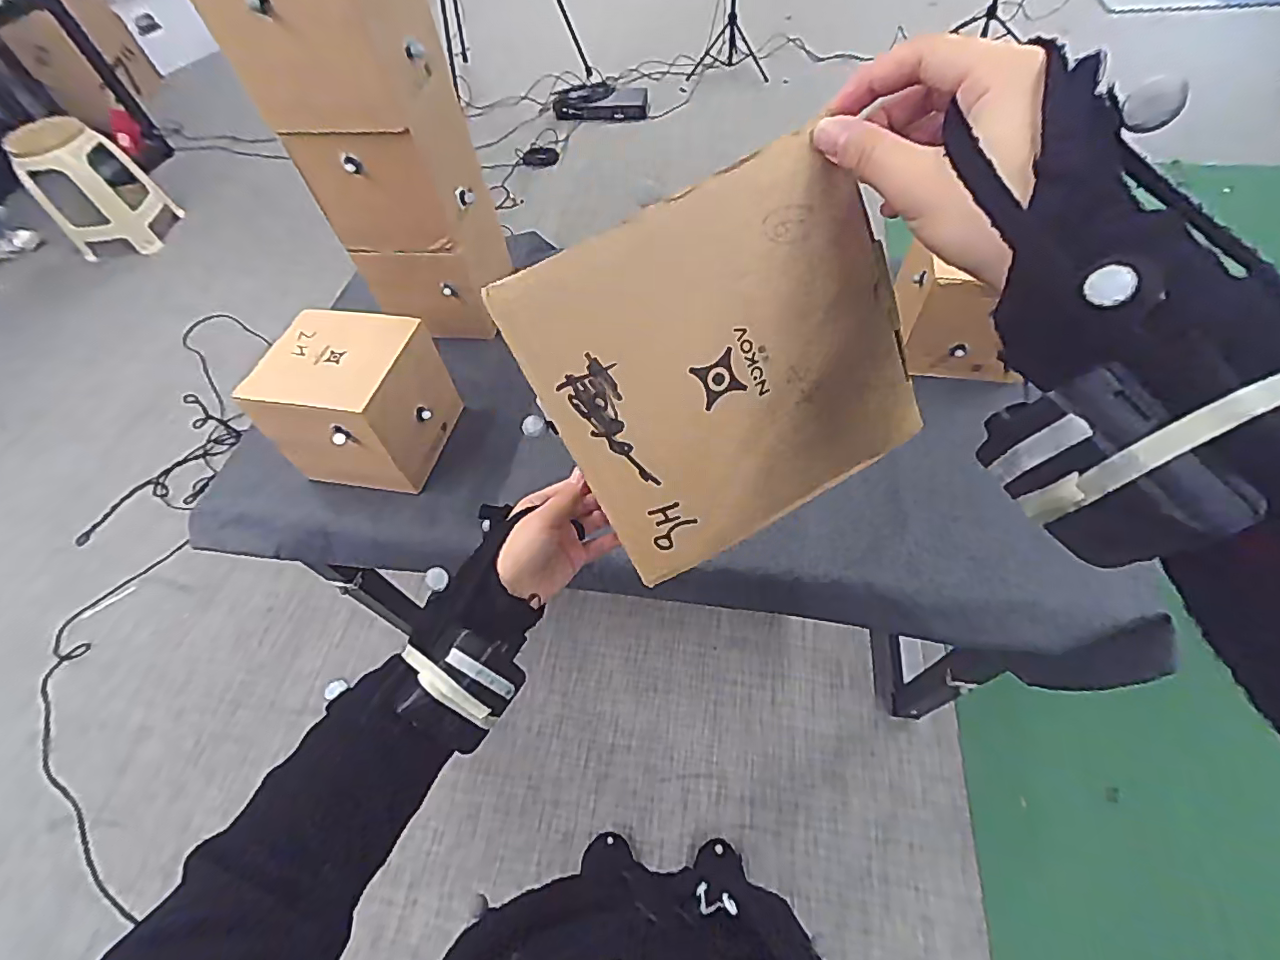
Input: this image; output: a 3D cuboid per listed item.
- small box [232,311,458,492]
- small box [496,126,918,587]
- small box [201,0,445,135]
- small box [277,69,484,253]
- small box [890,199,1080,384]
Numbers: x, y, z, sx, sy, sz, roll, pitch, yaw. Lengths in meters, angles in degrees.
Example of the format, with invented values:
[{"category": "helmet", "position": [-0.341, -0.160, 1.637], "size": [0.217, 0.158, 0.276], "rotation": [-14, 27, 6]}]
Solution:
[{"category": "small box", "position": [-0.372, -0.101, 0.725], "size": [0.179, 0.176, 0.168], "rotation": [7, 55, 9]}, {"category": "small box", "position": [0.025, -0.074, 0.332], "size": [0.179, 0.168, 0.176], "rotation": [-29, 21, -5]}, {"category": "small box", "position": [-0.350, -0.515, 0.605], "size": [0.179, 0.176, 0.168], "rotation": [4, 60, 6]}, {"category": "small box", "position": [-0.341, -0.436, 0.750], "size": [0.179, 0.176, 0.168], "rotation": [3, 60, 5]}, {"category": "small box", "position": [0.462, -0.262, 0.759], "size": [0.168, 0.176, 0.179], "rotation": [7, 60, 10]}]
